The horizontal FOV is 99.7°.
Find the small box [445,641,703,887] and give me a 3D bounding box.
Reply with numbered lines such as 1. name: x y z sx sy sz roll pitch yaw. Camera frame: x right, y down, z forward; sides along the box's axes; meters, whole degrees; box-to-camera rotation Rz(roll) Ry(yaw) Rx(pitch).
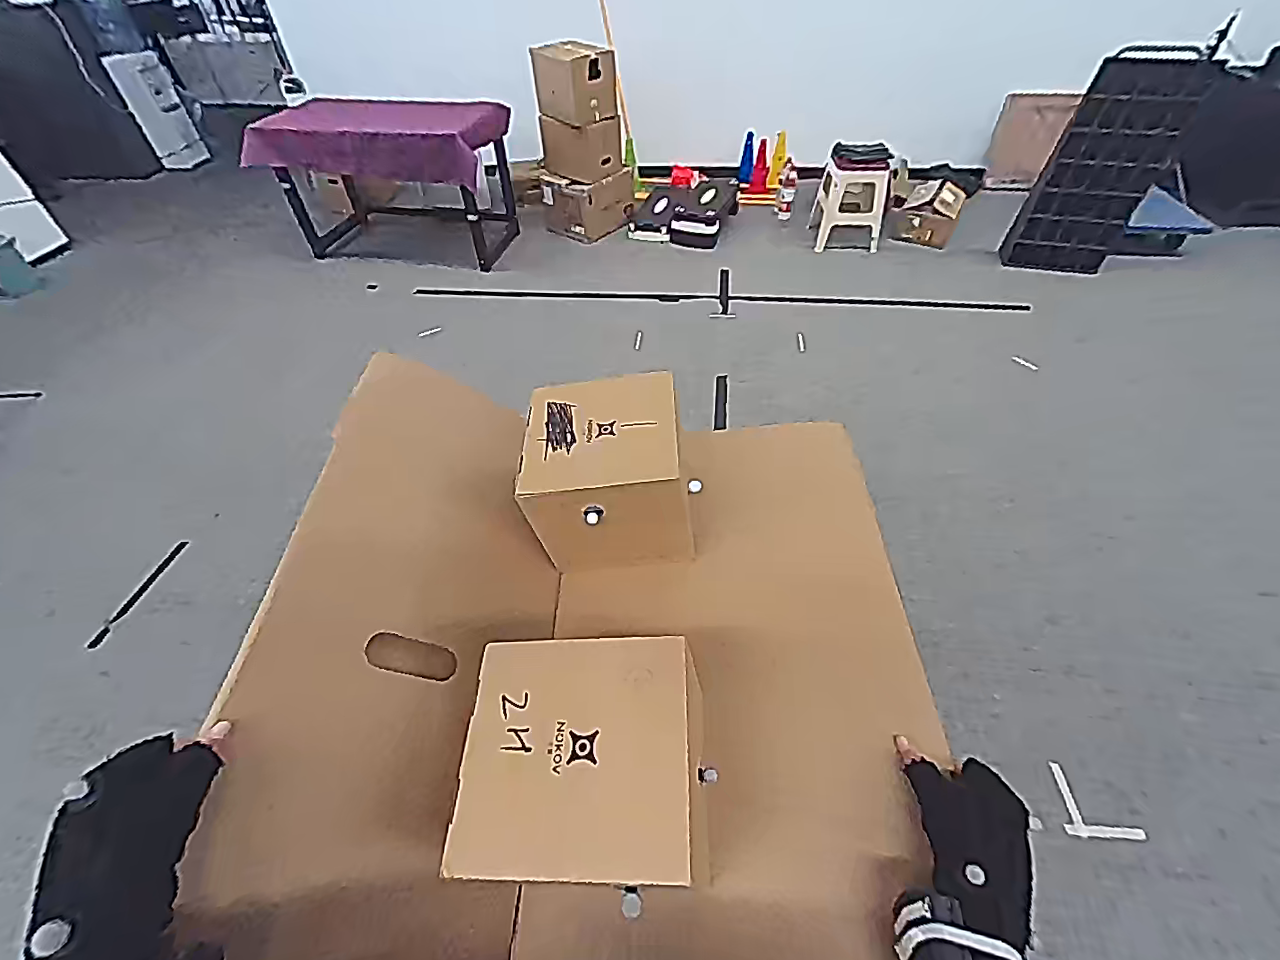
1. small box: -0.036 0.252 0.478 0.179 0.176 0.168 -4 52 10

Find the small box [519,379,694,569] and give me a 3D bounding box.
1. small box: -0.030 0.000 0.675 0.179 0.176 0.168 -6 52 7
